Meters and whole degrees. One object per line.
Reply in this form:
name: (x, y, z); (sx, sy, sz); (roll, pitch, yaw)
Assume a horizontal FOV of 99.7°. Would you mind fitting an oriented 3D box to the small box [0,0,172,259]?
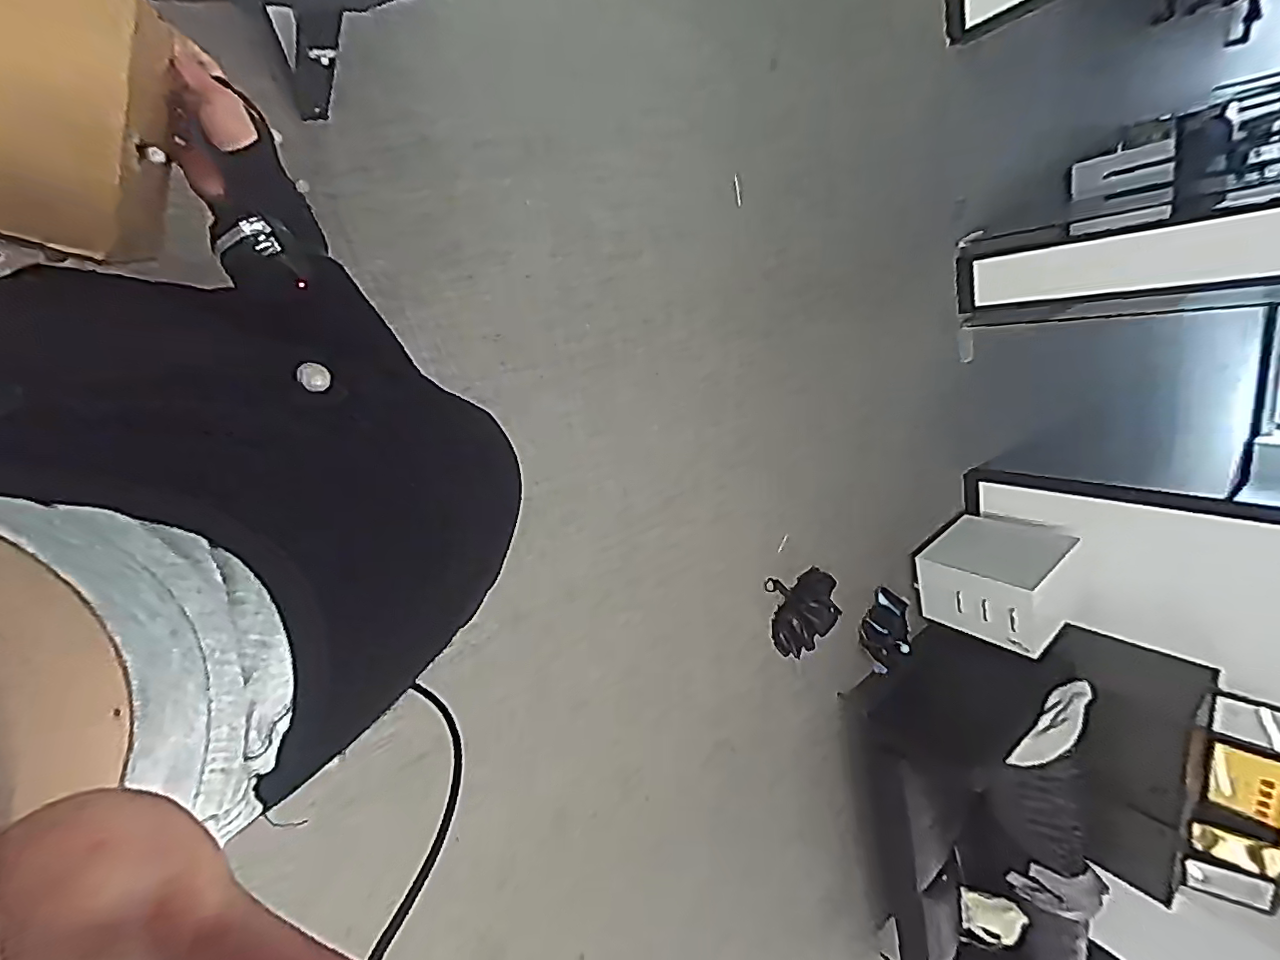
small box: (-0.446, -0.270, 0.372); (0.168, 0.176, 0.179); (8, 106, -36)
